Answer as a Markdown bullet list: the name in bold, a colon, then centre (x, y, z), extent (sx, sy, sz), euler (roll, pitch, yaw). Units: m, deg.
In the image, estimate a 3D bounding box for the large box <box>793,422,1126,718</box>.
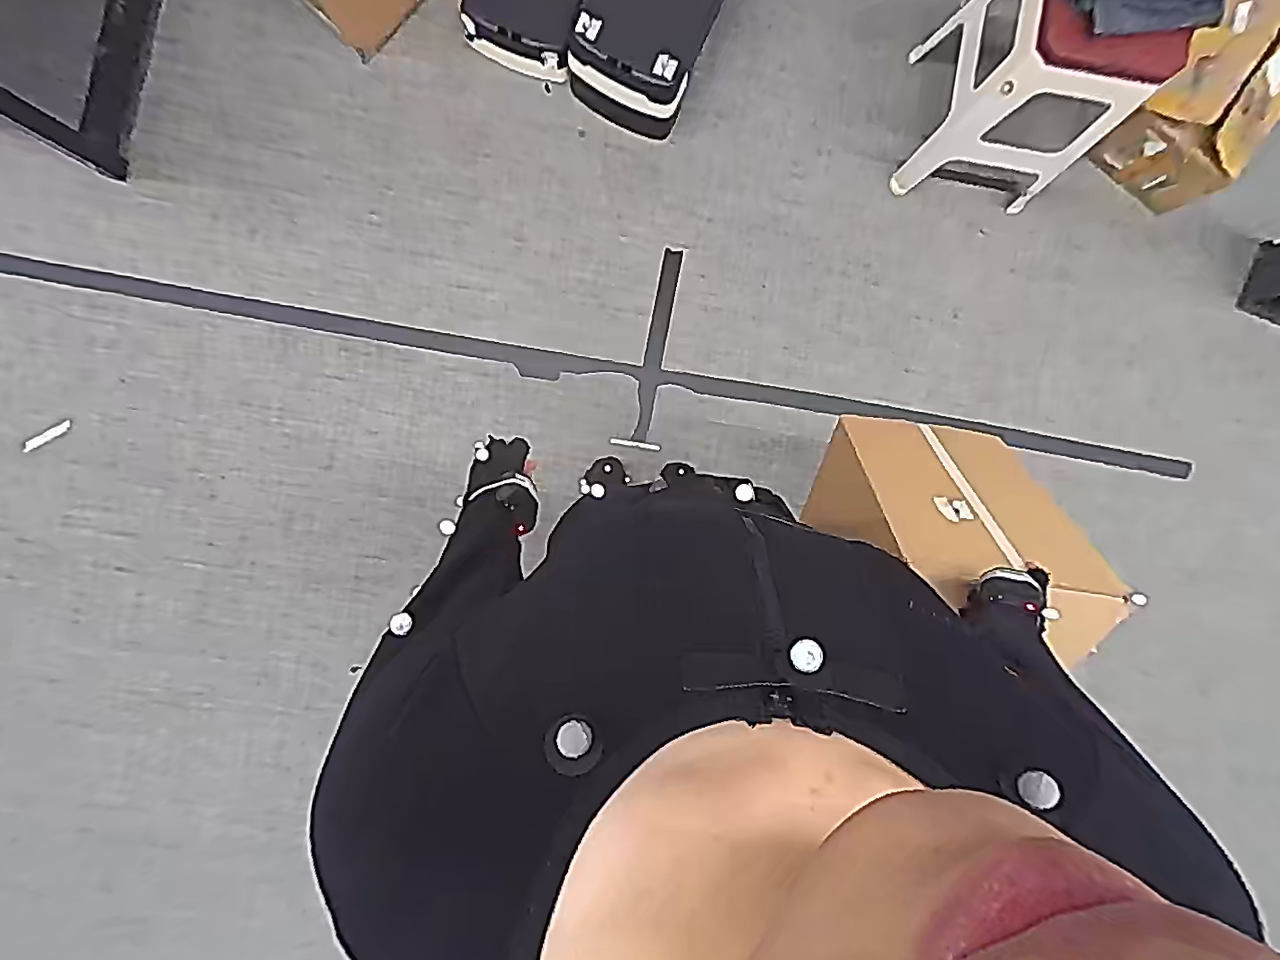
- **large box**: centre (0.500, 0.146, 0.973), extent (0.320, 0.408, 0.320), euler (8, 128, -1)
